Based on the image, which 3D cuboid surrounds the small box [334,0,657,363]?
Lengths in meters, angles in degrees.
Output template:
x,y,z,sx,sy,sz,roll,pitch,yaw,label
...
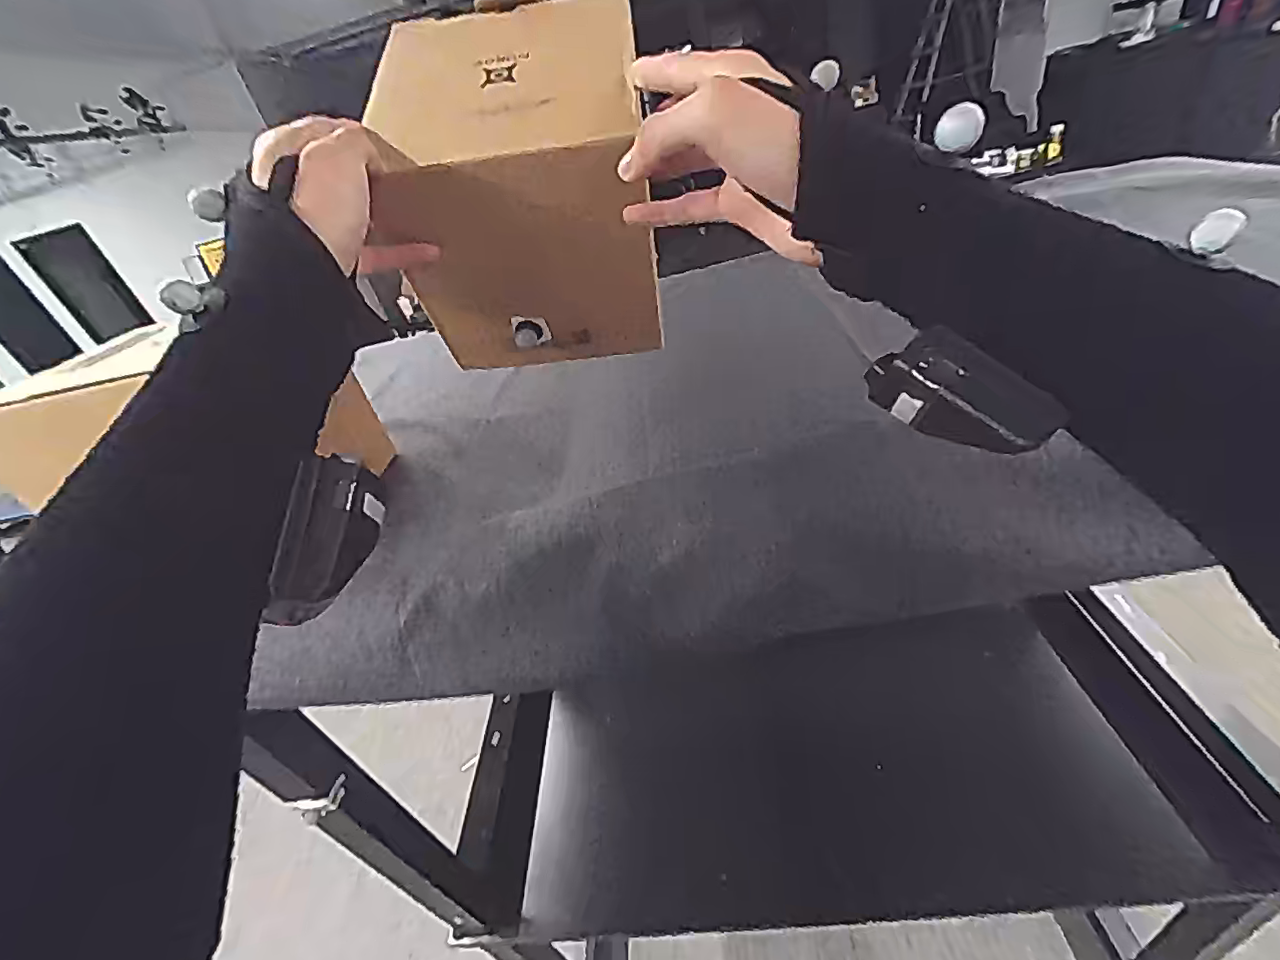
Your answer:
x,y,z,sx,sy,sz,roll,pitch,yaw,label
-0.080,-0.213,0.398,0.168,0.176,0.179,-7,59,5,small box
